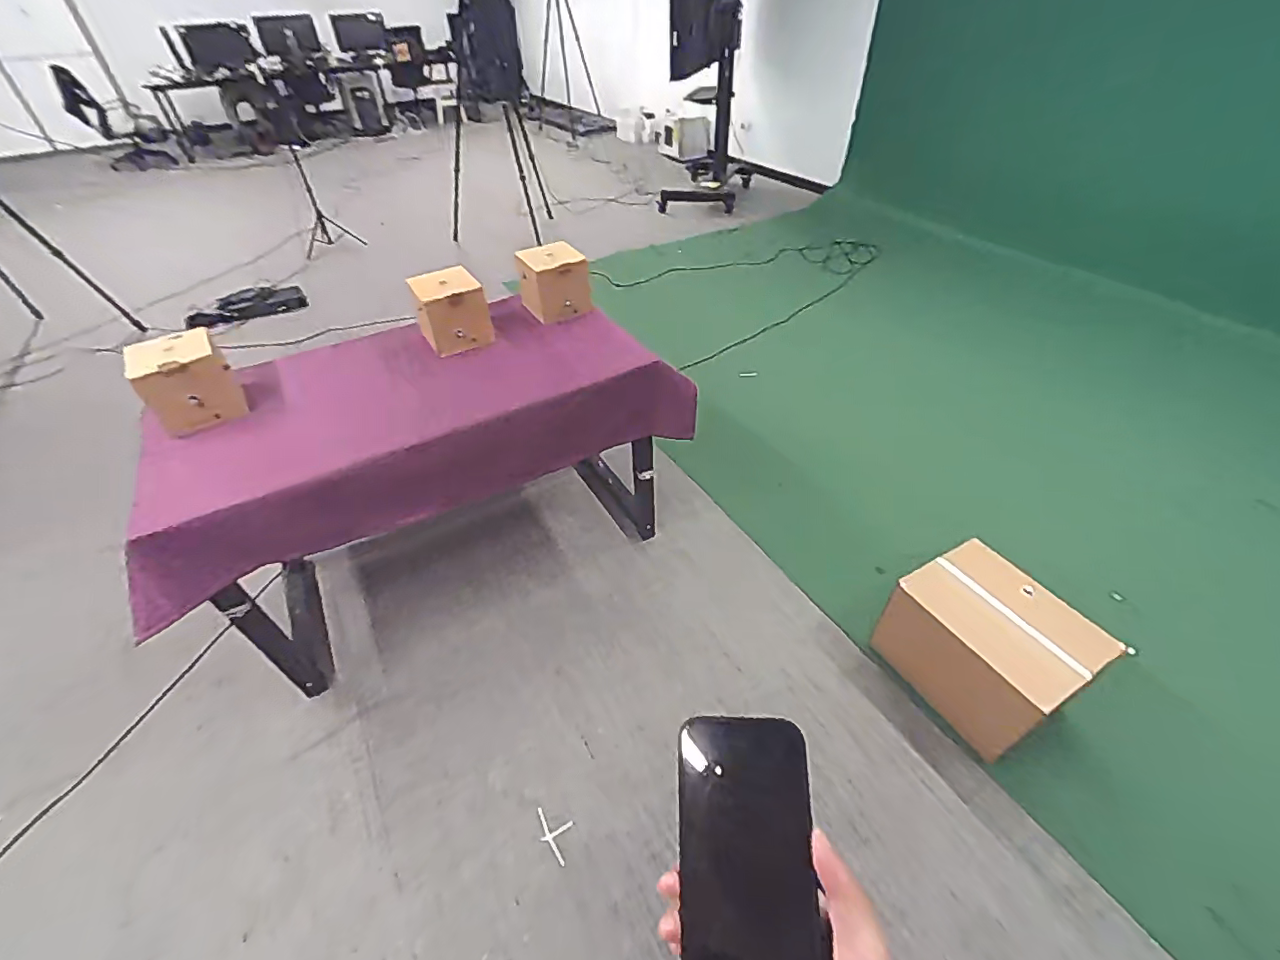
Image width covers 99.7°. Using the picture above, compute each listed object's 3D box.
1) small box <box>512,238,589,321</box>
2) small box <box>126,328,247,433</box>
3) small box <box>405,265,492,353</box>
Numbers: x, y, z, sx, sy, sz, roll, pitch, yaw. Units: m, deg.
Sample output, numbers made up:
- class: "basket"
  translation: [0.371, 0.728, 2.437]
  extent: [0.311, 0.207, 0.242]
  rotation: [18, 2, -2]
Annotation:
- class: "small box"
  translation: [-0.269, -0.609, 1.644]
  extent: [0.168, 0.176, 0.179]
  rotation: [-25, 48, -20]
- class: "small box"
  translation: [-1.082, -0.233, 1.300]
  extent: [0.168, 0.176, 0.179]
  rotation: [-27, 50, -24]
- class: "small box"
  translation: [-0.541, -0.485, 1.535]
  extent: [0.168, 0.176, 0.179]
  rotation: [-26, 49, -22]
